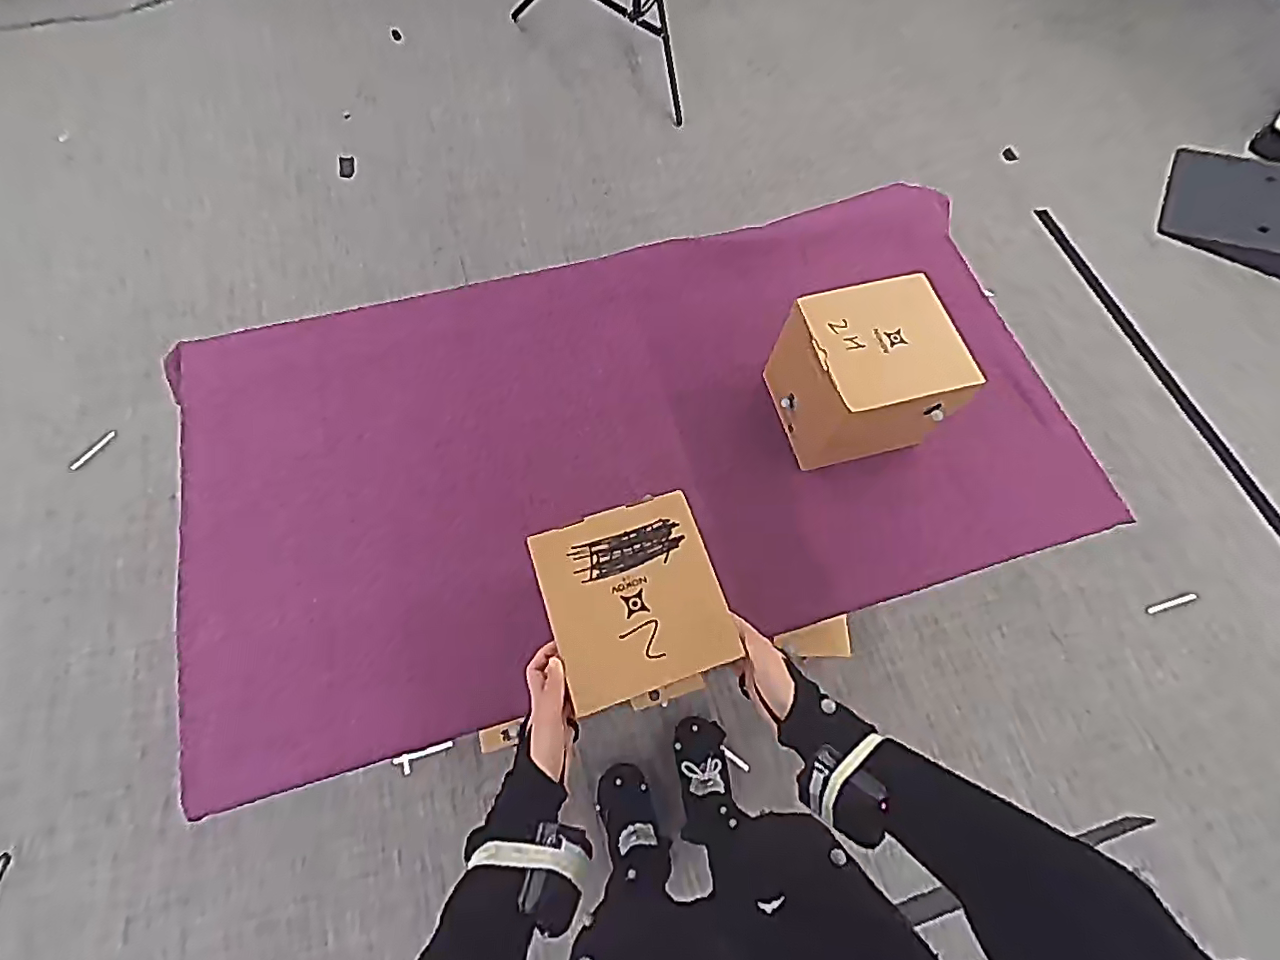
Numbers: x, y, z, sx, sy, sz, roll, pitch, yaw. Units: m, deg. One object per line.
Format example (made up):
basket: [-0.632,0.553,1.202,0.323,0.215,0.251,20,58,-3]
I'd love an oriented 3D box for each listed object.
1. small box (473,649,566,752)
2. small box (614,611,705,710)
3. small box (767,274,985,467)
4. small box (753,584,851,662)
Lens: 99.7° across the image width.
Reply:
small box: [-0.268,0.498,1.223,0.168,0.176,0.179,-13,68,-7]
small box: [0.037,0.423,1.262,0.168,0.176,0.179,-15,71,-8]
small box: [0.290,-0.135,0.707,0.179,0.176,0.168,-13,69,-7]
small box: [0.383,0.348,1.305,0.179,0.176,0.168,1,69,-1]
